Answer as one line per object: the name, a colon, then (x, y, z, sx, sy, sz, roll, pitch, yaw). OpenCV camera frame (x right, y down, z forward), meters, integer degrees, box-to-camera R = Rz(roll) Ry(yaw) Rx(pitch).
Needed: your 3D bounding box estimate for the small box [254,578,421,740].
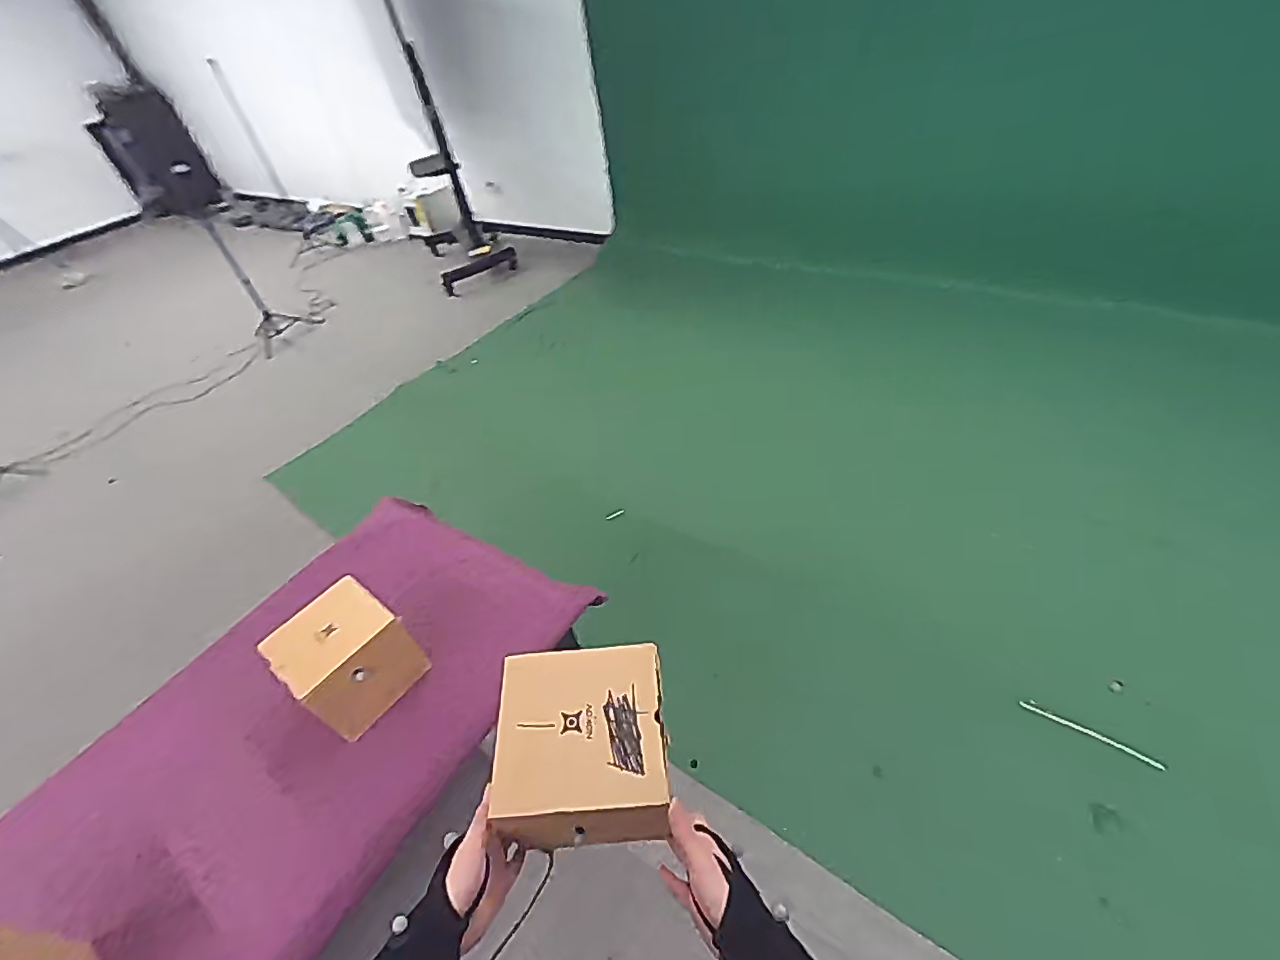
small box: (-0.516, 0.314, 0.954, 0.168, 0.176, 0.179, 25, 54, 30)

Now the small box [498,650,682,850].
small box: (-0.047, 0.311, 0.621, 0.179, 0.176, 0.168, -3, 46, 0)
